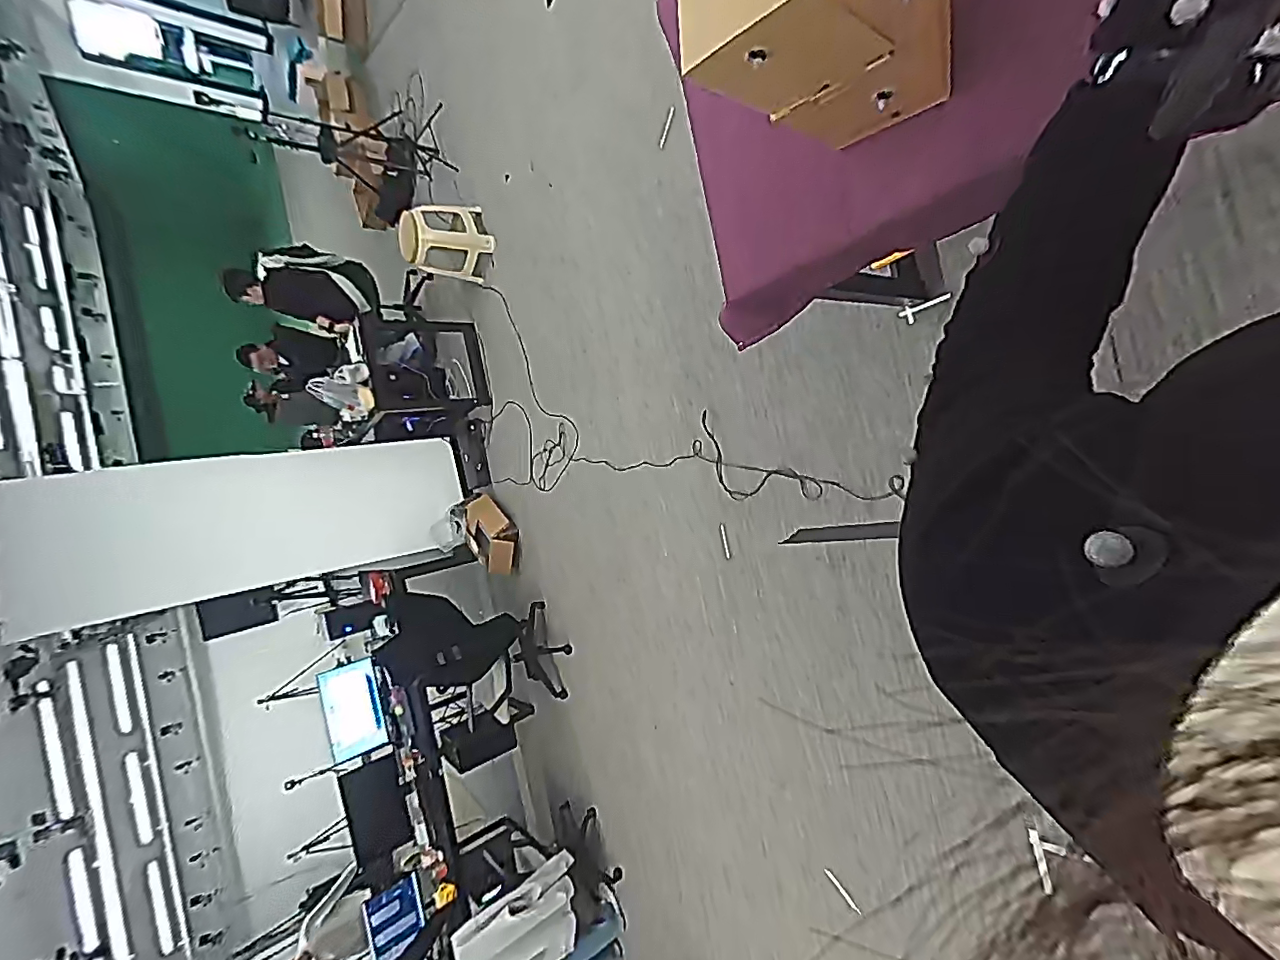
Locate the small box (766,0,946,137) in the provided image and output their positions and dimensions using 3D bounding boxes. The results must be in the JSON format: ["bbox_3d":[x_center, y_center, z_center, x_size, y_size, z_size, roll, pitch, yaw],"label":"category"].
[{"bbox_3d":[0.277,-0.573,0.699,0.168,0.176,0.179,6,103,50],"label":"small box"}]

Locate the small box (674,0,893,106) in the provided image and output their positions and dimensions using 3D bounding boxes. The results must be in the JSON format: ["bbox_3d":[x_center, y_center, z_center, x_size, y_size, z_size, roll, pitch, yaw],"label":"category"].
[{"bbox_3d":[0.154,-0.550,0.593,0.179,0.176,0.168,7,105,50],"label":"small box"}]
